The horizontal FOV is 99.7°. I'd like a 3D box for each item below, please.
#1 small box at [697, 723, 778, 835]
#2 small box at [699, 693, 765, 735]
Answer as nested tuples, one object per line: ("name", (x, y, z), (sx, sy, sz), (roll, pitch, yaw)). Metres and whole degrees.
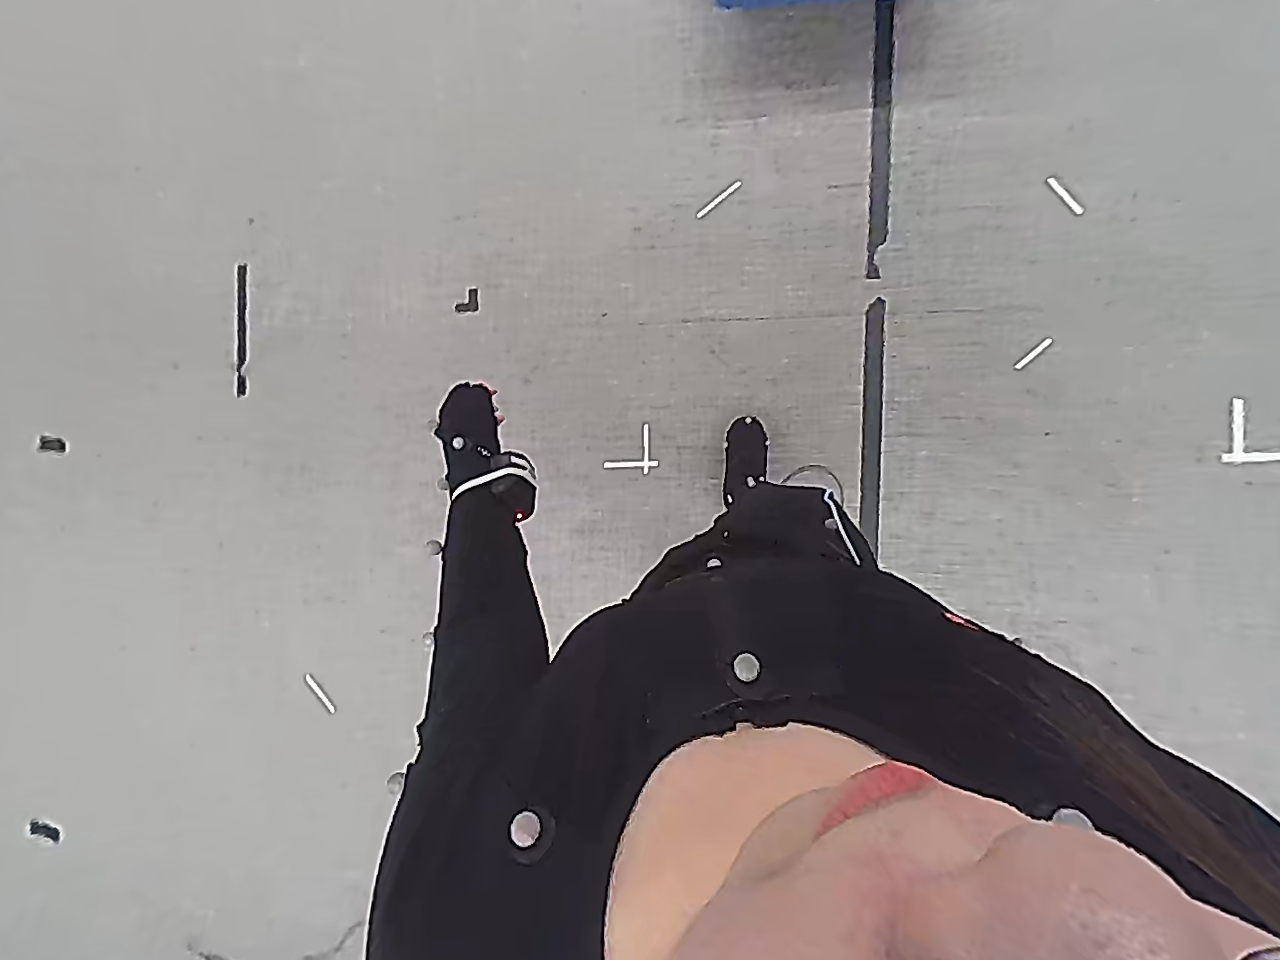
("small box", (0.224, 0.689, 1.266), (0.179, 0.176, 0.168), (0, 93, 7))
("small box", (0.241, 0.688, 1.429), (0.168, 0.176, 0.179), (1, 92, 6))
